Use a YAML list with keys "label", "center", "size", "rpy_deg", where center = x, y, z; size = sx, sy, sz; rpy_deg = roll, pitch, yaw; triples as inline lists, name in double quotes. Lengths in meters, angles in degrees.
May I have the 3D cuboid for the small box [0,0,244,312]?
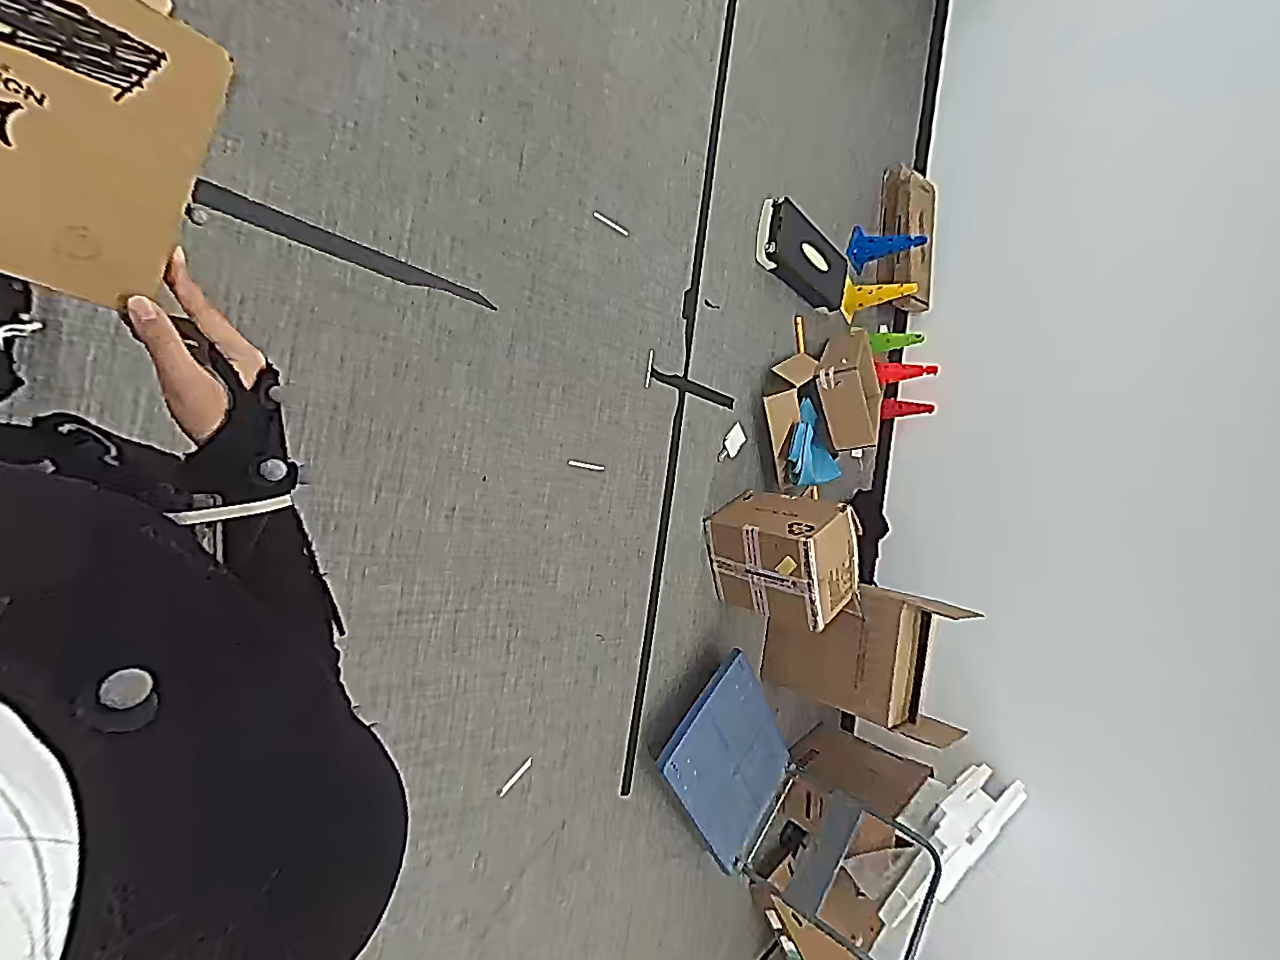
- label: "small box"
  center: [-0.384, -0.228, 0.339]
  size: [0.168, 0.176, 0.179]
  rpy_deg: [19, 95, -45]
